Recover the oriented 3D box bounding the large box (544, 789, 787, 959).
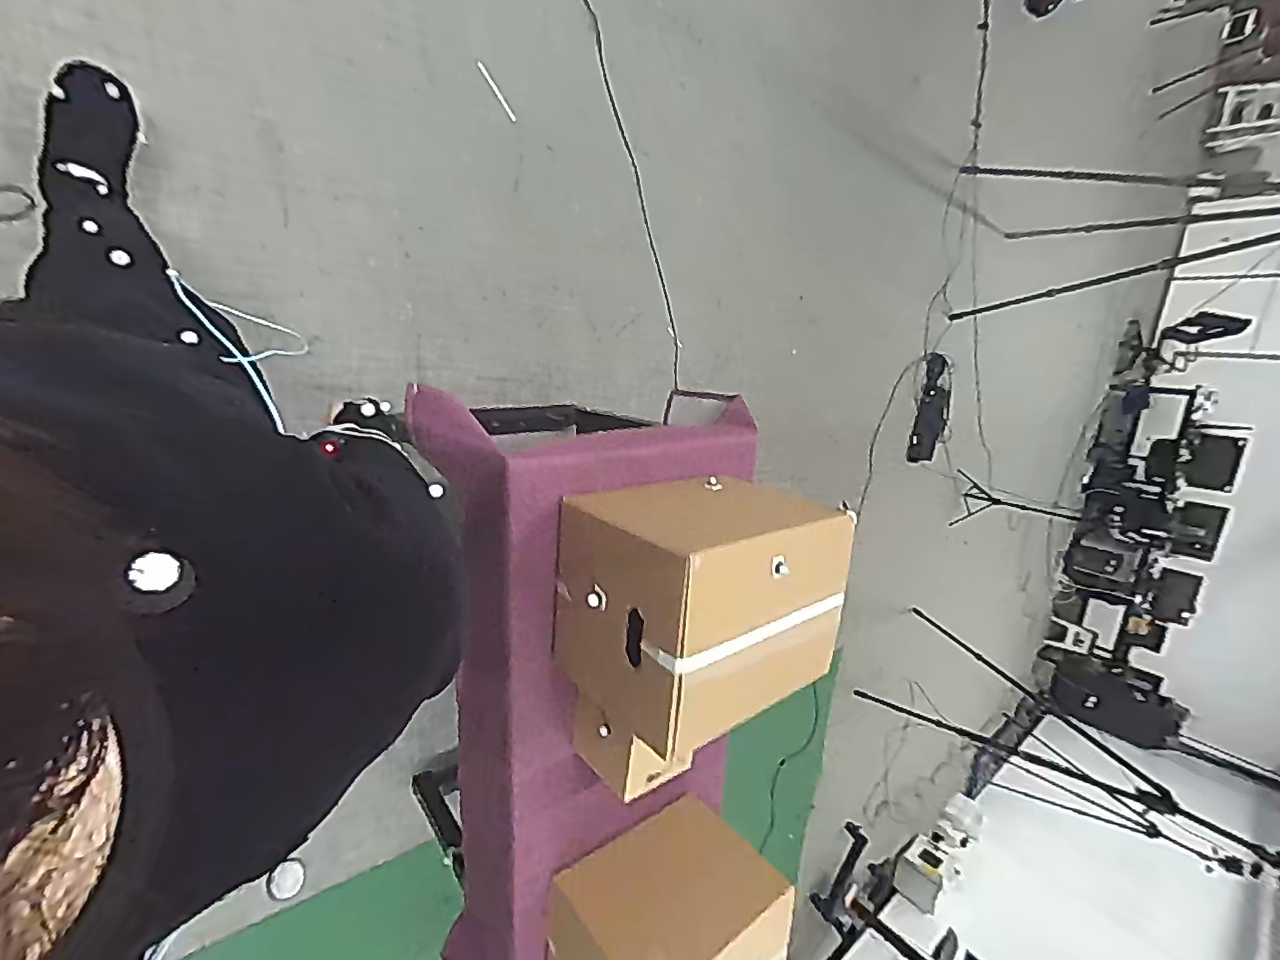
[{"bbox_3d":[0.048,0.959,1.145,0.408,0.320,0.320,-5,106,-39],"label":"large box"}]
